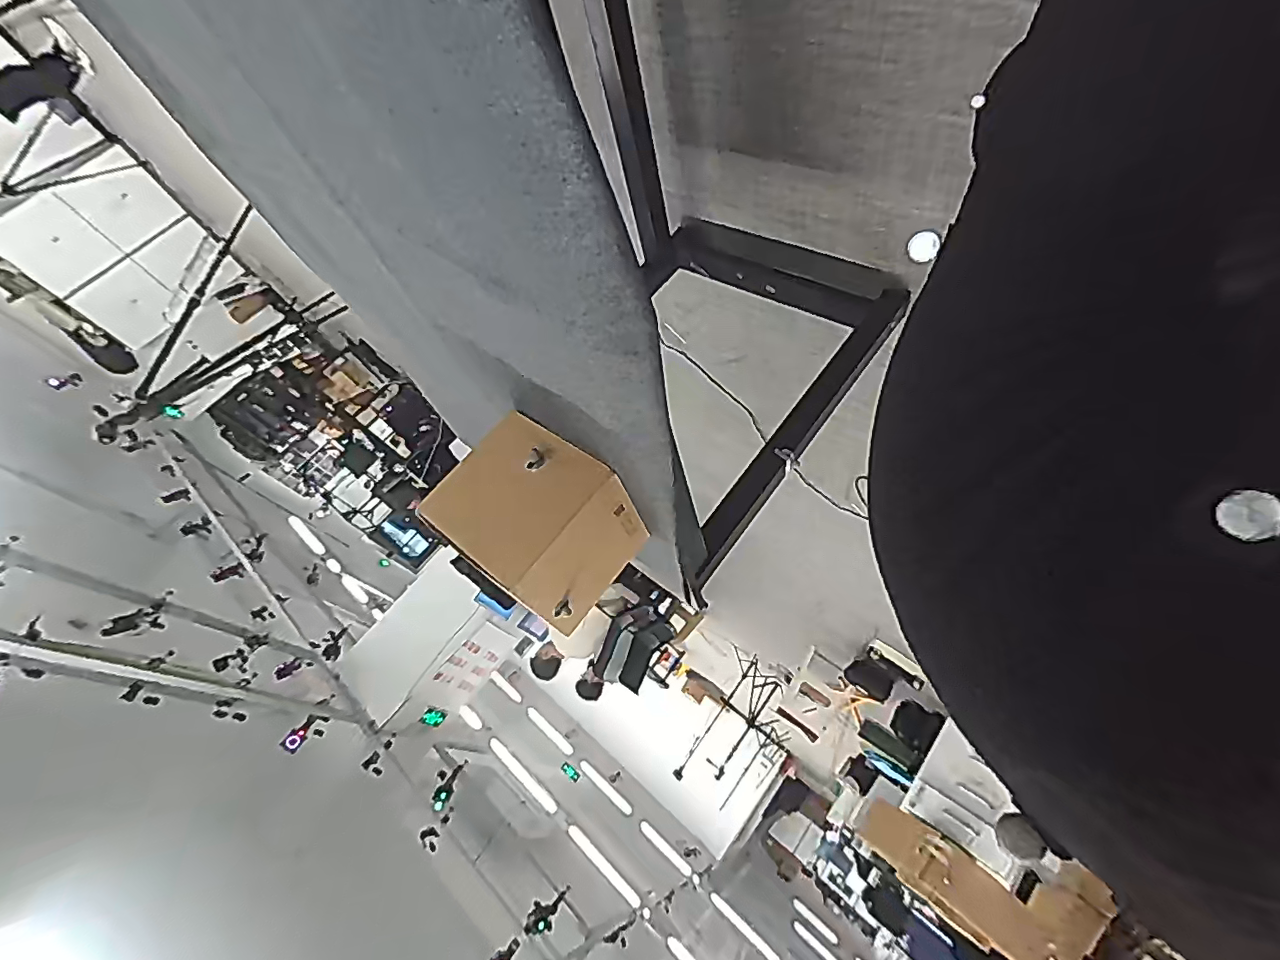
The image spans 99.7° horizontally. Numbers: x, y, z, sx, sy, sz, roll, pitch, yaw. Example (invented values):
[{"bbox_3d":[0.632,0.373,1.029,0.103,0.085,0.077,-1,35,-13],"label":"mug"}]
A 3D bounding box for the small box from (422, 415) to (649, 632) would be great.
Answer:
[{"bbox_3d":[-0.117,0.047,0.658,0.179,0.176,0.168,31,161,30],"label":"small box"}]
